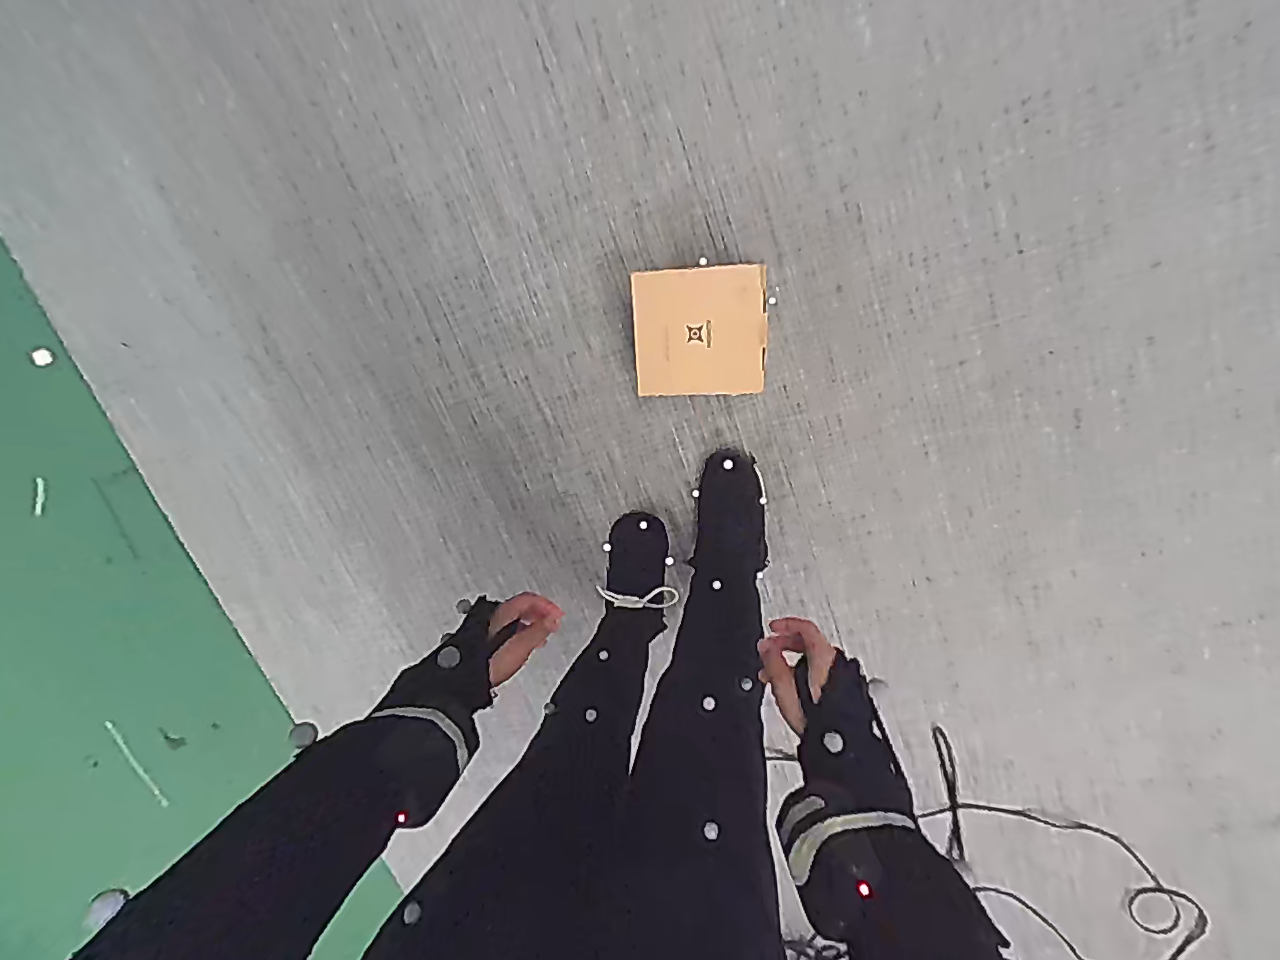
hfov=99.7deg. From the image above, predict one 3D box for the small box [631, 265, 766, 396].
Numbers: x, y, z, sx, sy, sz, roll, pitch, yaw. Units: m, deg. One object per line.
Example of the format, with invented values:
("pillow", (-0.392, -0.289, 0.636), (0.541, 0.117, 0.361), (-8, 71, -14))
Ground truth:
("small box", (0.093, -0.220, 0.795), (0.179, 0.176, 0.168), (0, 108, 13))
